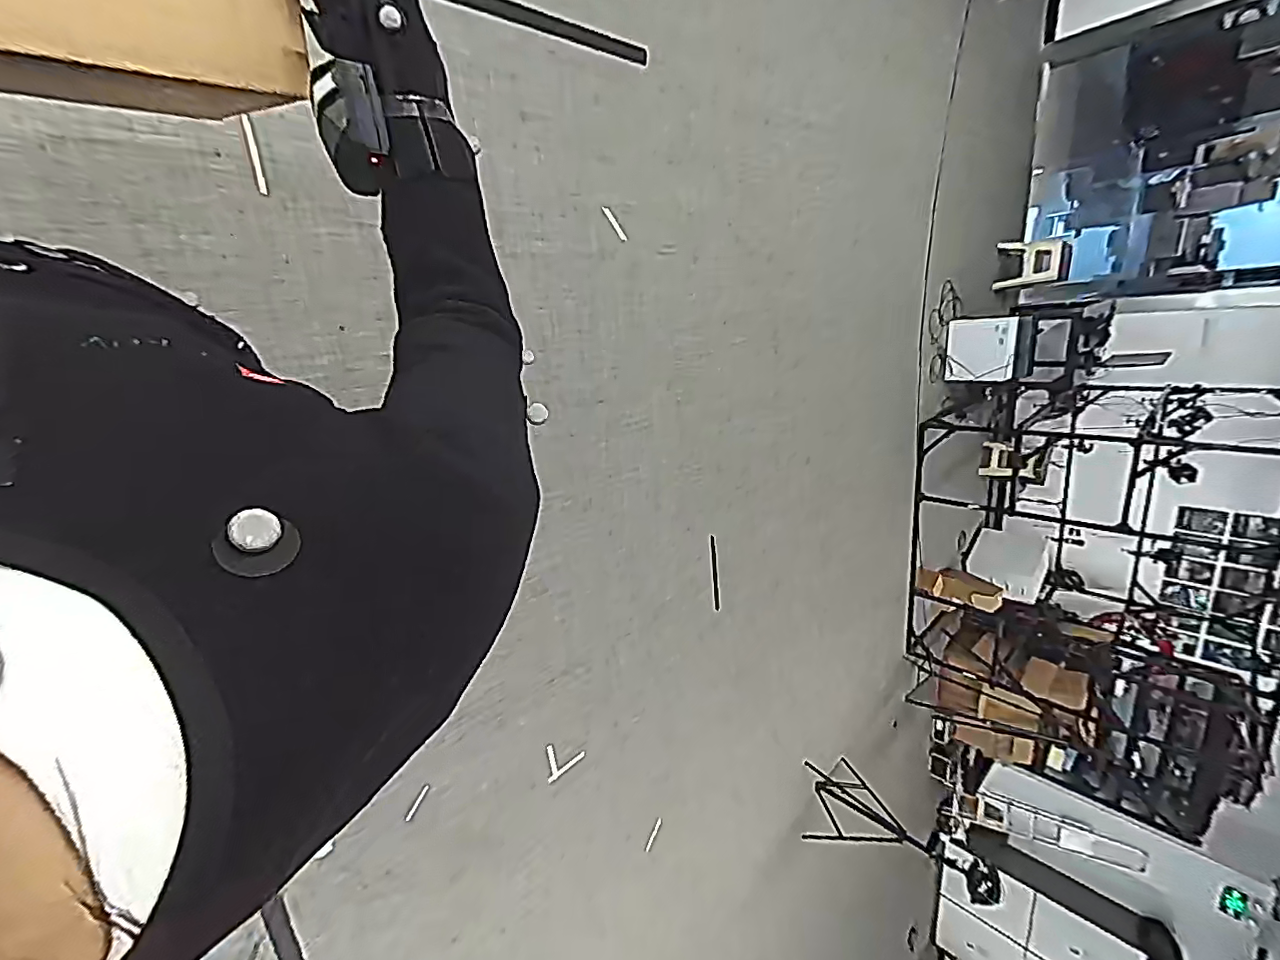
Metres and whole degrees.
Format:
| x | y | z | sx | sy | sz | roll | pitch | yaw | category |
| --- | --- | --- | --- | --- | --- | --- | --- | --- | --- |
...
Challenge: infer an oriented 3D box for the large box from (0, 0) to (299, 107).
| x | y | z | sx | sy | sz | roll | pitch | yaw | category |
| --- | --- | --- | --- | --- | --- | --- | --- | --- | --- |
| -0.479 | -0.414 | 0.282 | 0.408 | 0.320 | 0.320 | -21 | 128 | -40 | large box |
